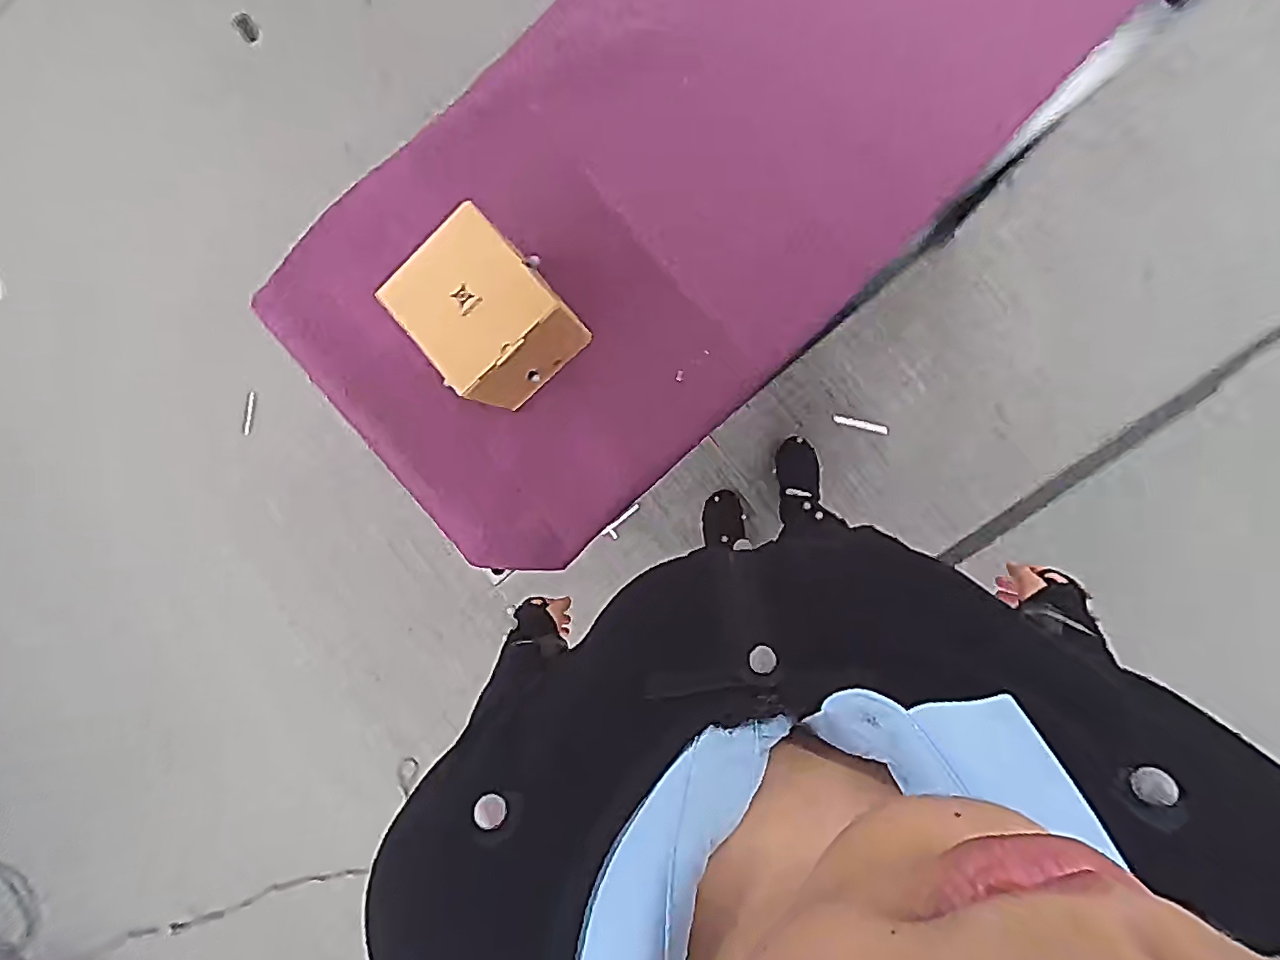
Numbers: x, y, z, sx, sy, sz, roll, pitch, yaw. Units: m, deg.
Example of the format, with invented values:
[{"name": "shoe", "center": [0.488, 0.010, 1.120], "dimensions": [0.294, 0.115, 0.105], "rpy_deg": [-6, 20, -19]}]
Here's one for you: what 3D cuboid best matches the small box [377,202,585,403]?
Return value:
[{"name": "small box", "center": [-0.202, -0.222, 0.734], "dimensions": [0.168, 0.176, 0.179], "rpy_deg": [-42, 86, 8]}]
